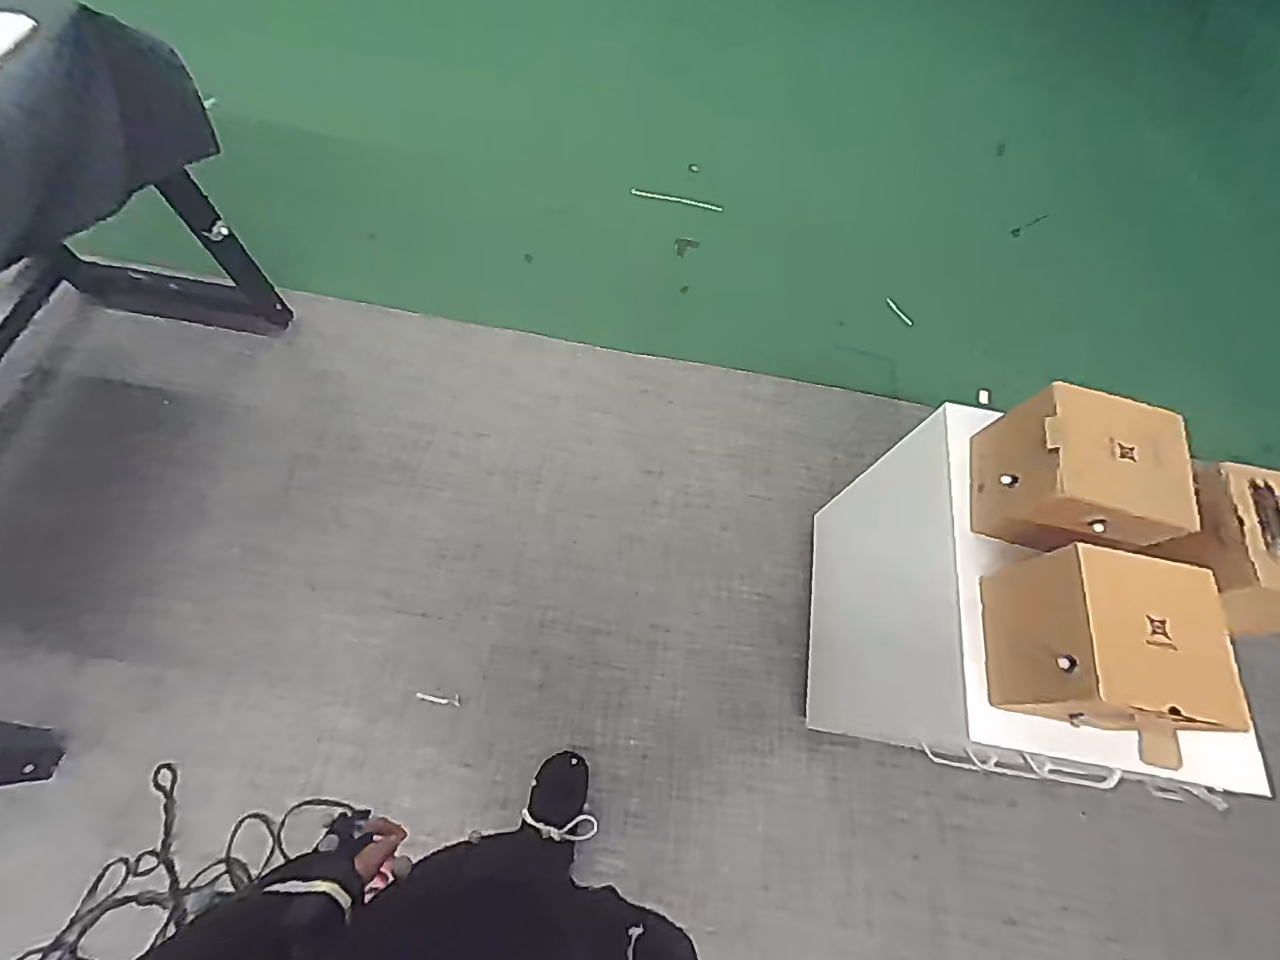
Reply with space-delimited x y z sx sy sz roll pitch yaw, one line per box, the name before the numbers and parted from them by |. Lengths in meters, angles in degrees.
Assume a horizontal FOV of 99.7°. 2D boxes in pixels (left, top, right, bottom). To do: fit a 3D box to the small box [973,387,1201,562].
small box | 0.592 0.002 0.746 0.179 0.176 0.168 15 67 -1
